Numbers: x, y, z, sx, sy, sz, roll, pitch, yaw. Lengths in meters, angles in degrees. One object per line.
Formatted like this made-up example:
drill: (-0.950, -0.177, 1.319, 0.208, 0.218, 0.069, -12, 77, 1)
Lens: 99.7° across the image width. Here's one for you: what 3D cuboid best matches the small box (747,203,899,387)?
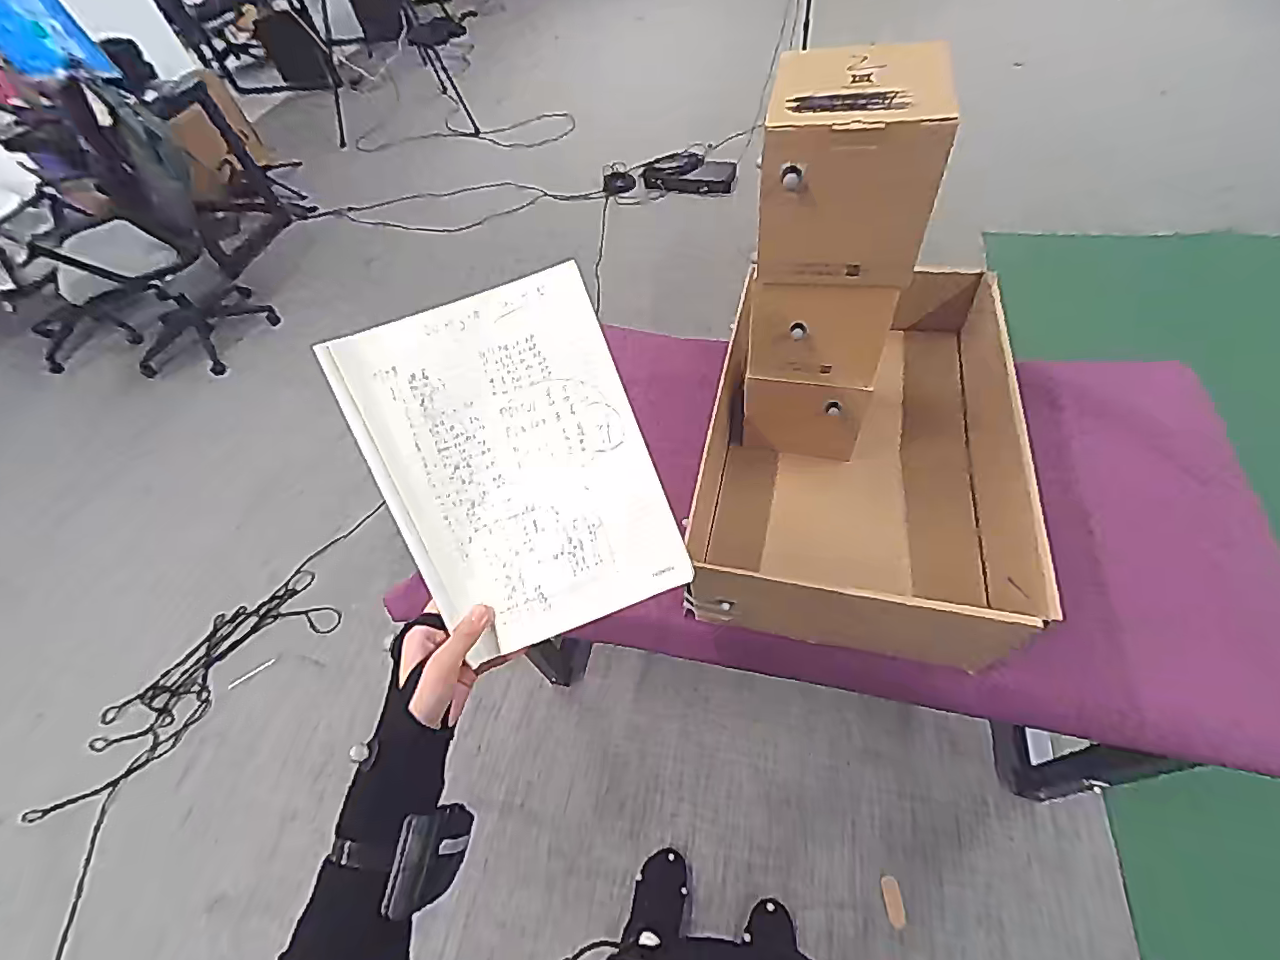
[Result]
small box: (0.241, -0.246, 0.730, 0.168, 0.176, 0.179, 9, 57, 15)
